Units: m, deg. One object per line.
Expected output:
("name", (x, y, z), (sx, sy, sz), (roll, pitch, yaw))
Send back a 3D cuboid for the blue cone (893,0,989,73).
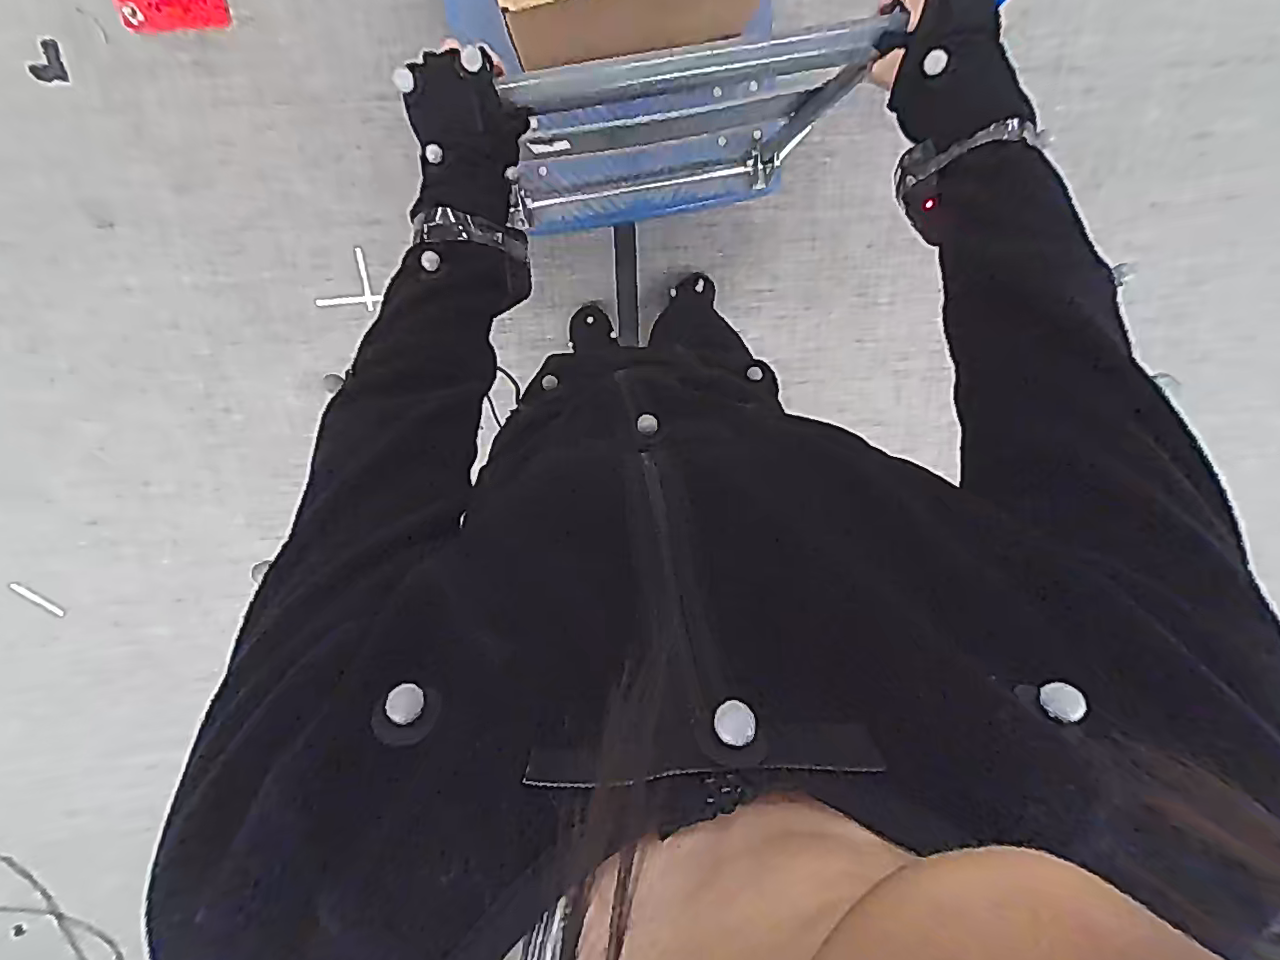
("blue cone", (0.646, -0.933, 0.997), (0.193, 0.380, 0.192), (-8, 109, -3))
